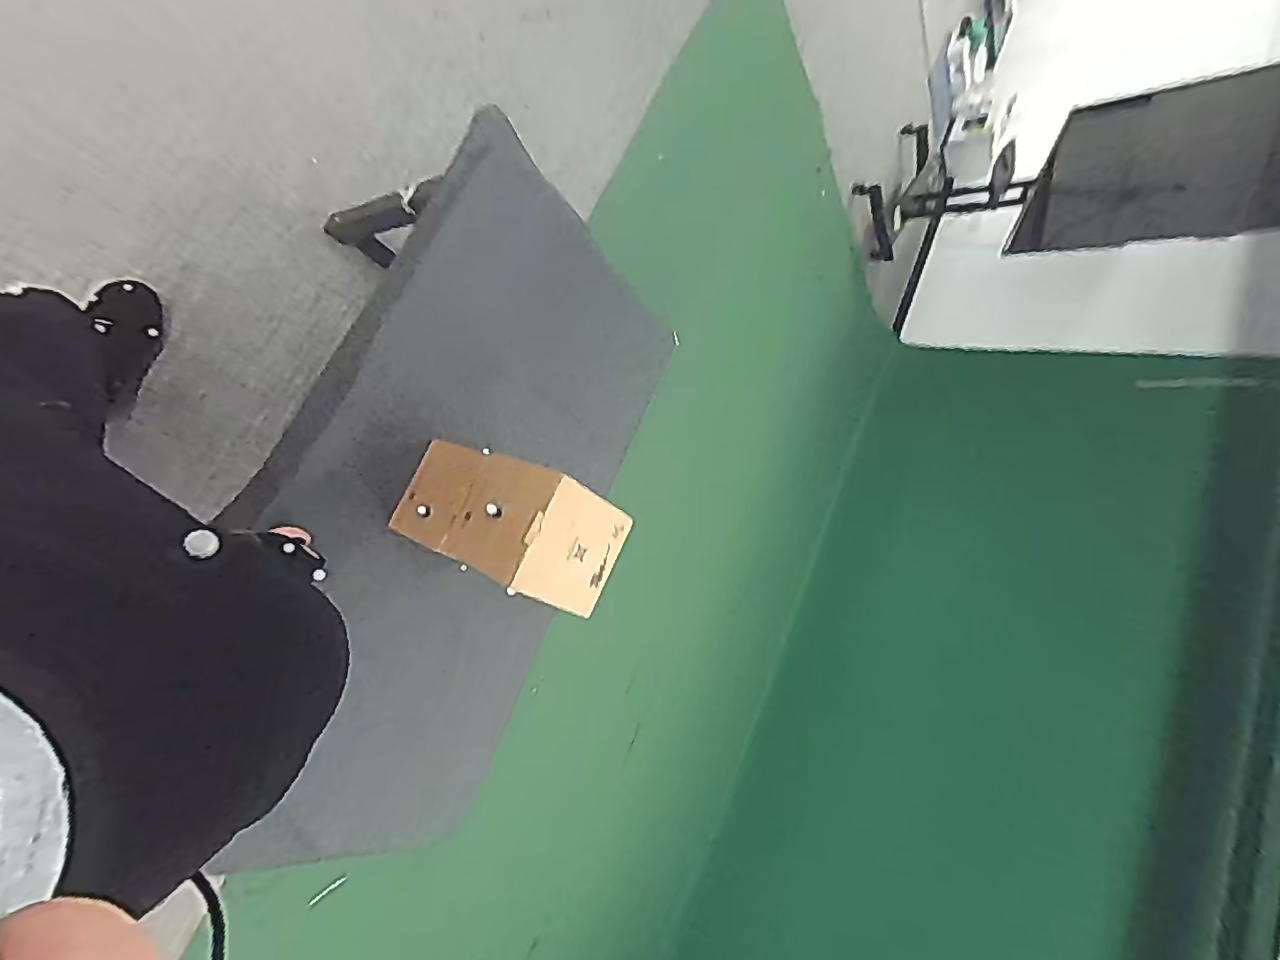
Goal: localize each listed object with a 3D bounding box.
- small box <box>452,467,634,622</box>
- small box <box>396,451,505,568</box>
[{"bbox_3d":[-0.148,0.091,0.817,0.179,0.176,0.168,38,72,-47],"label":"small box"},{"bbox_3d":[-0.275,0.062,0.917,0.179,0.176,0.168,37,73,-49],"label":"small box"}]
